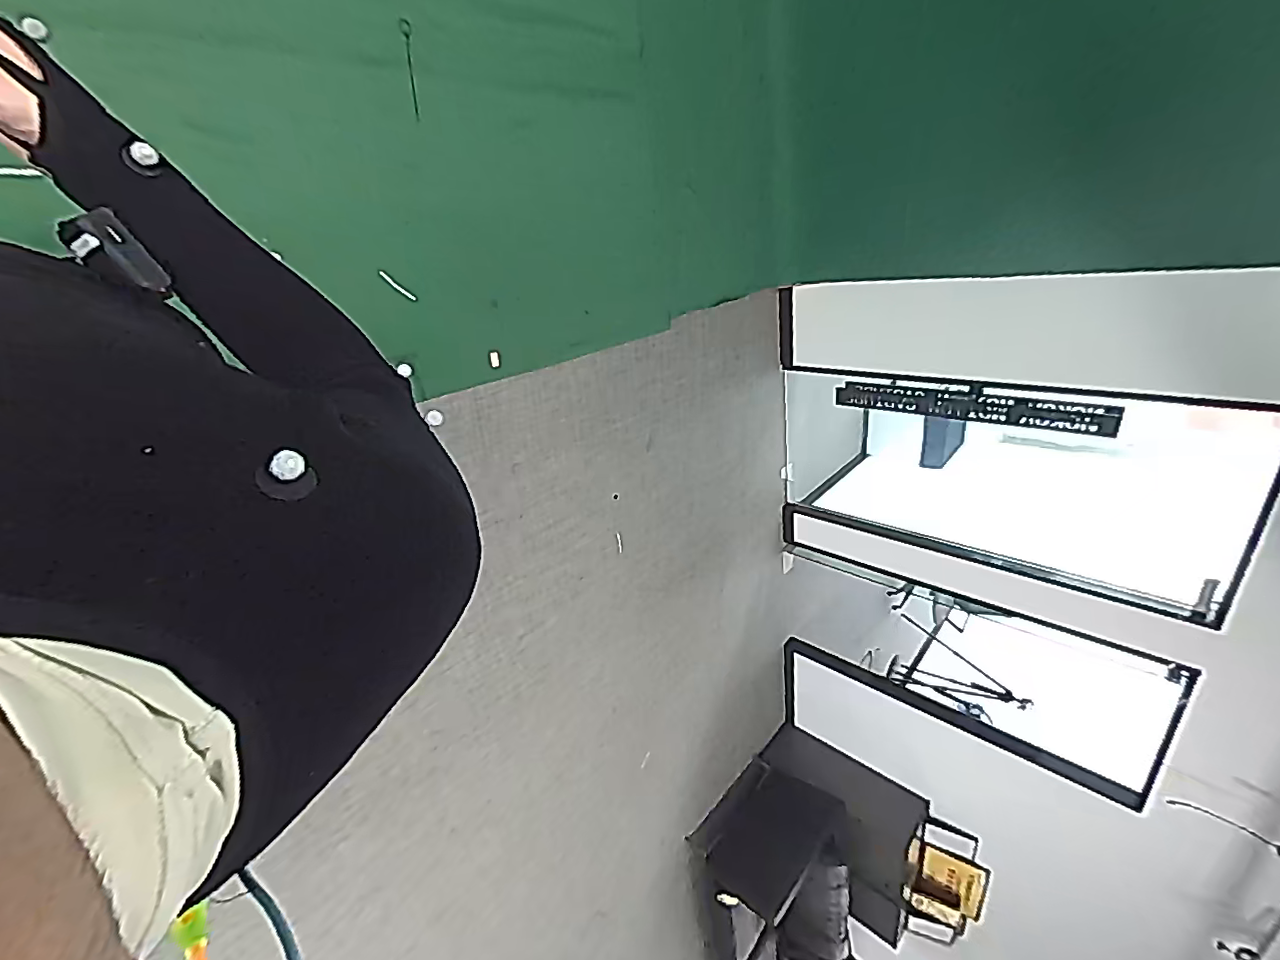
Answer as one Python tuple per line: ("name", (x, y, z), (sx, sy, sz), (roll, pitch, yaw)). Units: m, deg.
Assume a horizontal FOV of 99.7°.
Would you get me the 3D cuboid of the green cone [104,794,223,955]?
("green cone", (-1.155, 1.012, 1.343), (0.202, 0.368, 0.200), (-27, 121, -38))
